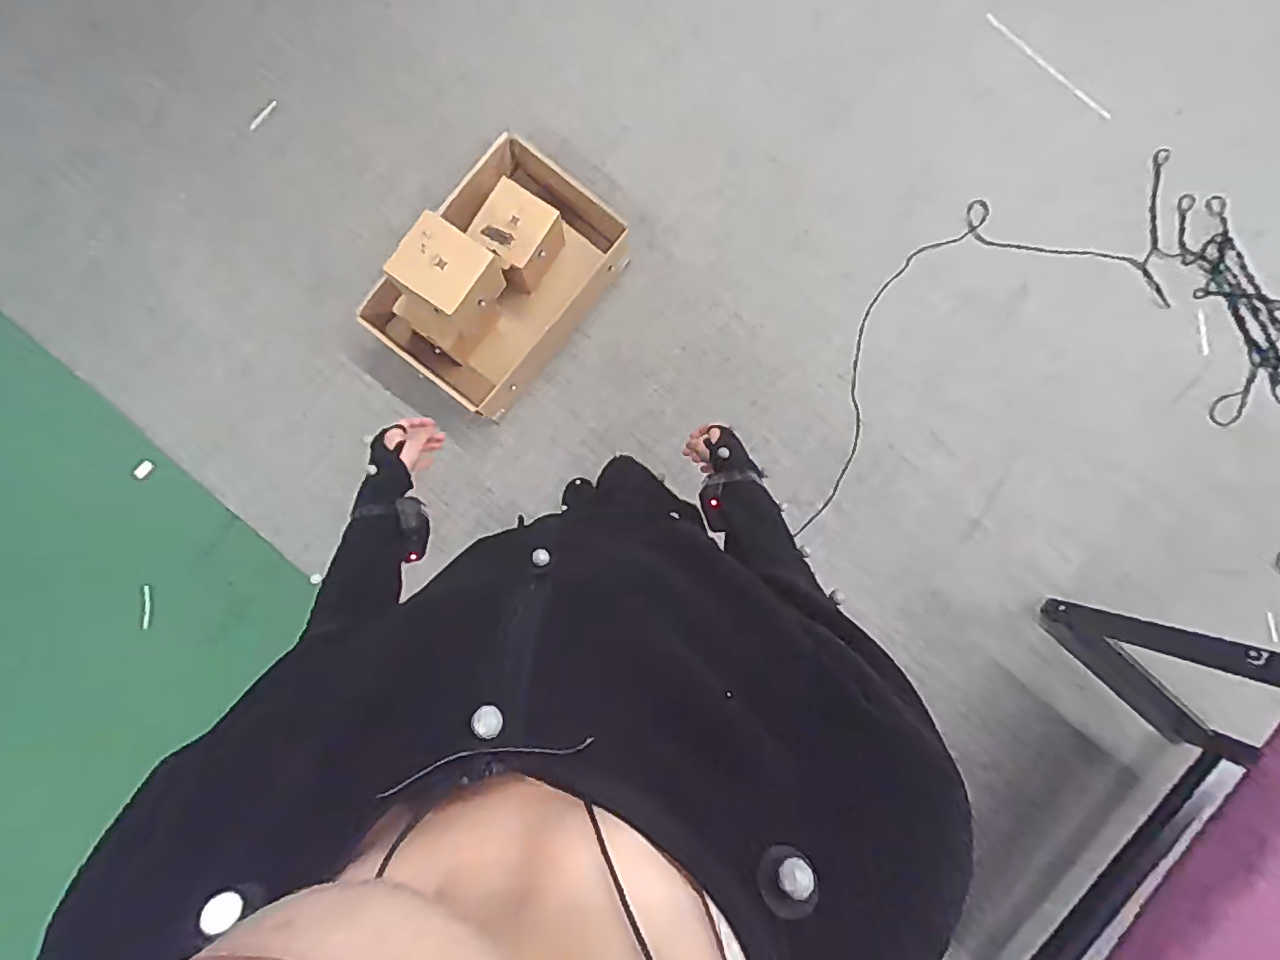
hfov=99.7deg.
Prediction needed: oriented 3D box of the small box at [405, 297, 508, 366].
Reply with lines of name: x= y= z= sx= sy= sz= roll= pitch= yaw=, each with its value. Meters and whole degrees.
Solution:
small box: x=-0.464 y=-0.422 z=1.401 sx=0.168 sy=0.176 sz=0.179 roll=36 pitch=86 yaw=-2

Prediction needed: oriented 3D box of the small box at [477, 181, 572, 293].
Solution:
small box: x=-0.291 y=-0.622 z=1.411 sx=0.168 sy=0.176 sz=0.179 roll=32 pitch=88 yaw=-1

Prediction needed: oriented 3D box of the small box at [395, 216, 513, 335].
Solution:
small box: x=-0.413 y=-0.455 z=1.241 sx=0.179 sy=0.176 sz=0.168 roll=34 pitch=86 yaw=-2
